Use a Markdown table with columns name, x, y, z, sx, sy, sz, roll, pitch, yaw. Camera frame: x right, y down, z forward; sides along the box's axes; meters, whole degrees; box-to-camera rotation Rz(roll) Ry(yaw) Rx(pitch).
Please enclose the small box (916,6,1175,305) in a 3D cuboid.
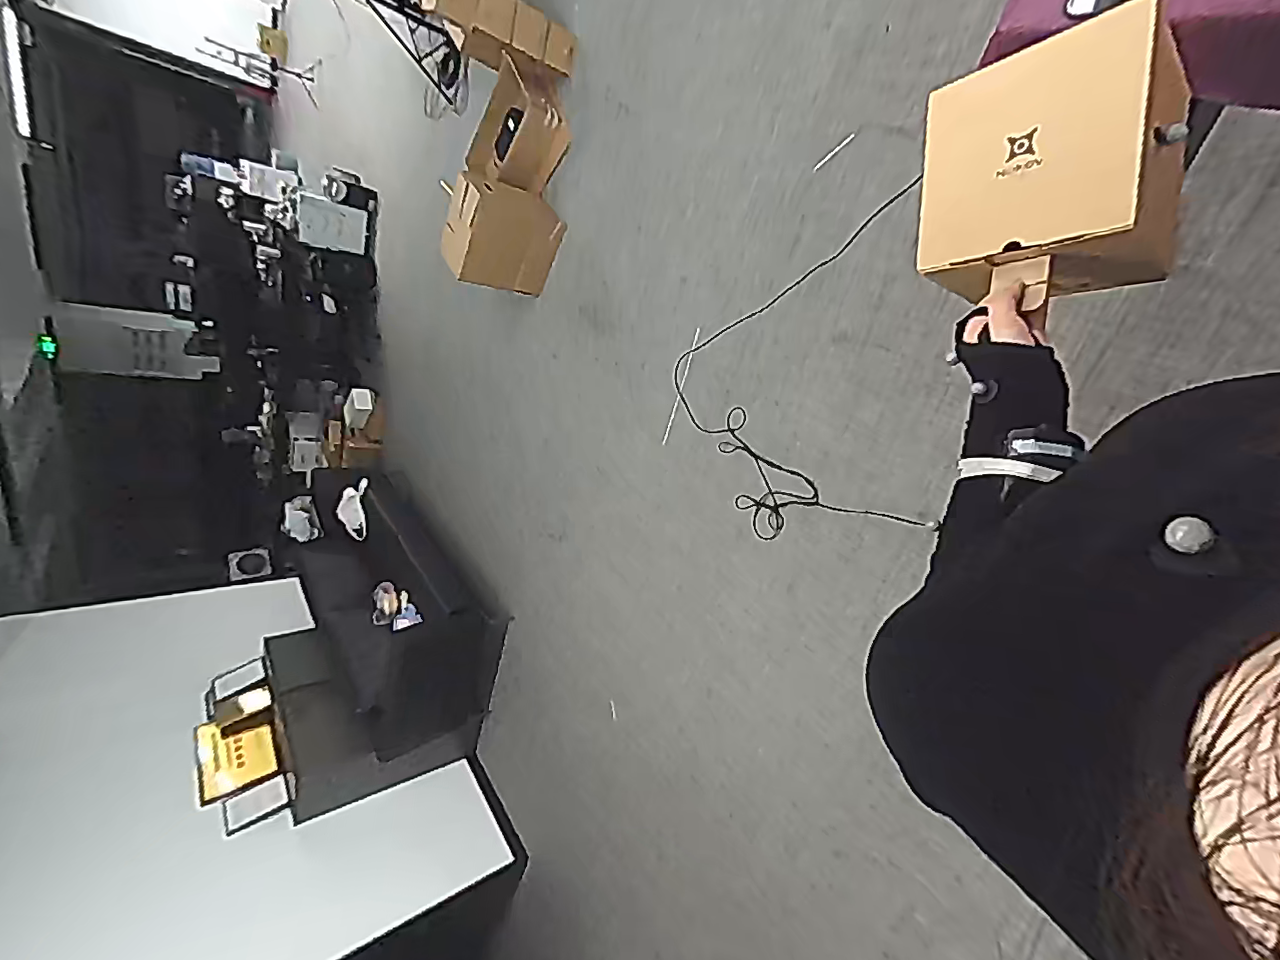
| name | x | y | z | sx | sy | sz | roll | pitch | yaw |
| --- | --- | --- | --- | --- | --- | --- | --- | --- | --- |
| small box | 0.398 | -0.289 | 0.533 | 0.168 | 0.176 | 0.179 | 7 | 96 | 50 |
